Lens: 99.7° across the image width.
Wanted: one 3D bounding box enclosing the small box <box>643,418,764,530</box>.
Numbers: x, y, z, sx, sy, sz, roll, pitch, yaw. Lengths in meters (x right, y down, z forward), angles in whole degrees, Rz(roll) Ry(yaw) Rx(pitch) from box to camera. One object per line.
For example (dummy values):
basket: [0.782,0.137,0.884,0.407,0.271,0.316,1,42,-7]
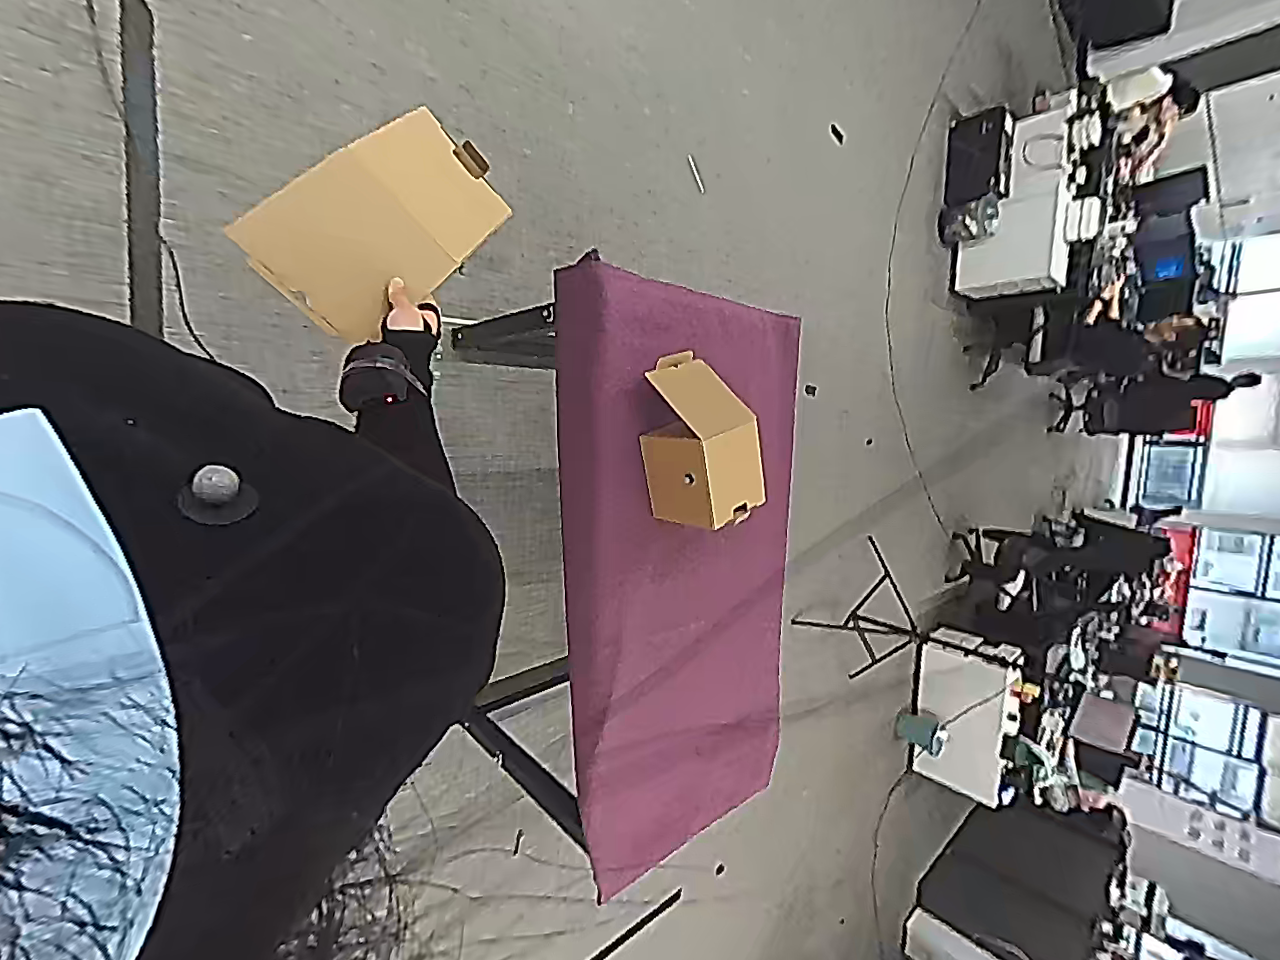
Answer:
small box: [0.123,-0.020,1.069,0.168,0.176,0.179,-23,111,-38]
